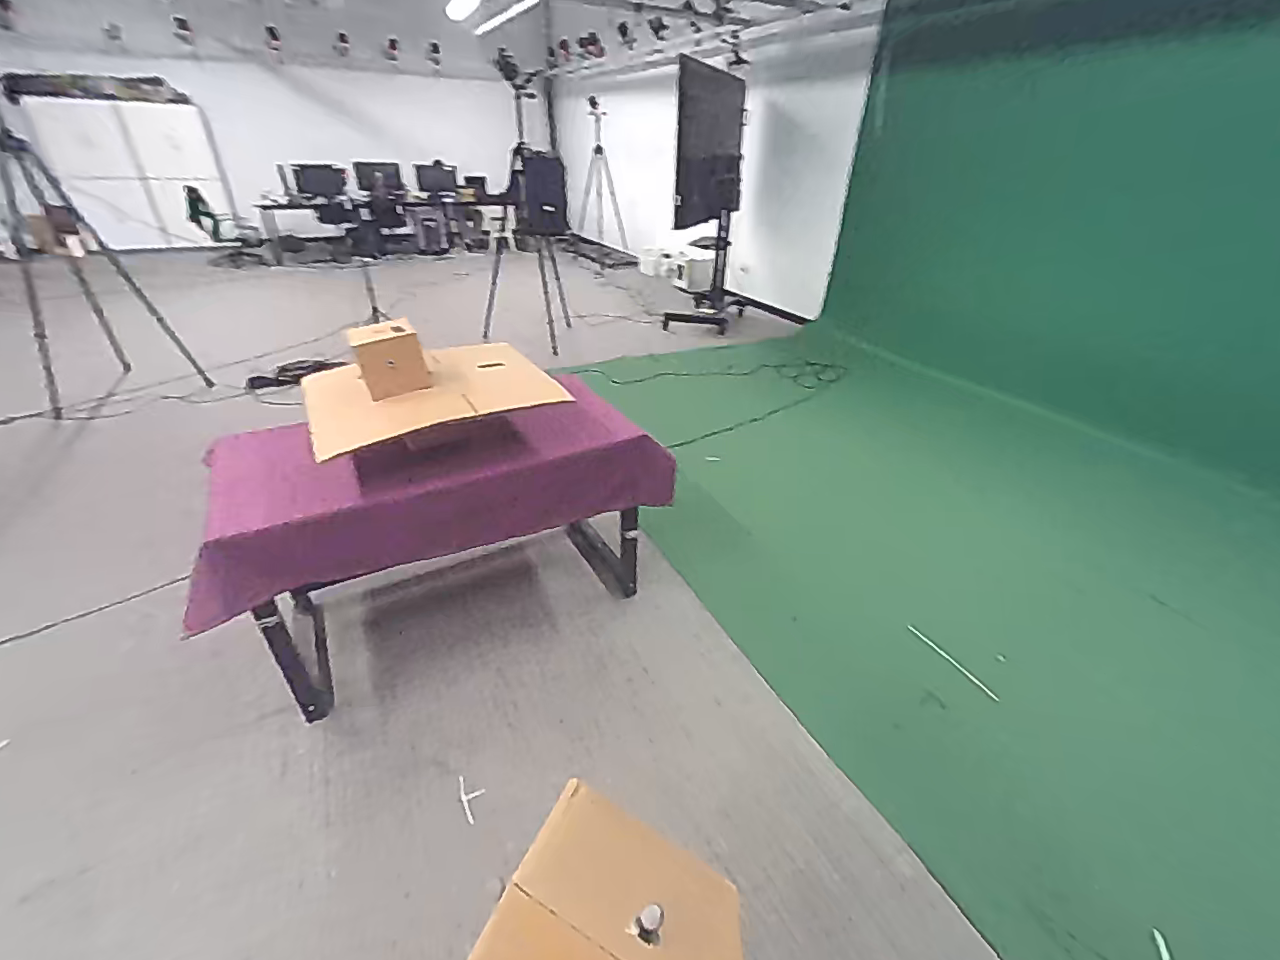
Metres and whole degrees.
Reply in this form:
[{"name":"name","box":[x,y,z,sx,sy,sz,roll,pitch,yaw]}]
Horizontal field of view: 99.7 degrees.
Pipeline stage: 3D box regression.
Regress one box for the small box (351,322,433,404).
[{"name":"small box","box":[-0.729,-0.347,1.602,0.179,0.176,0.168,-21,38,-21]}]
